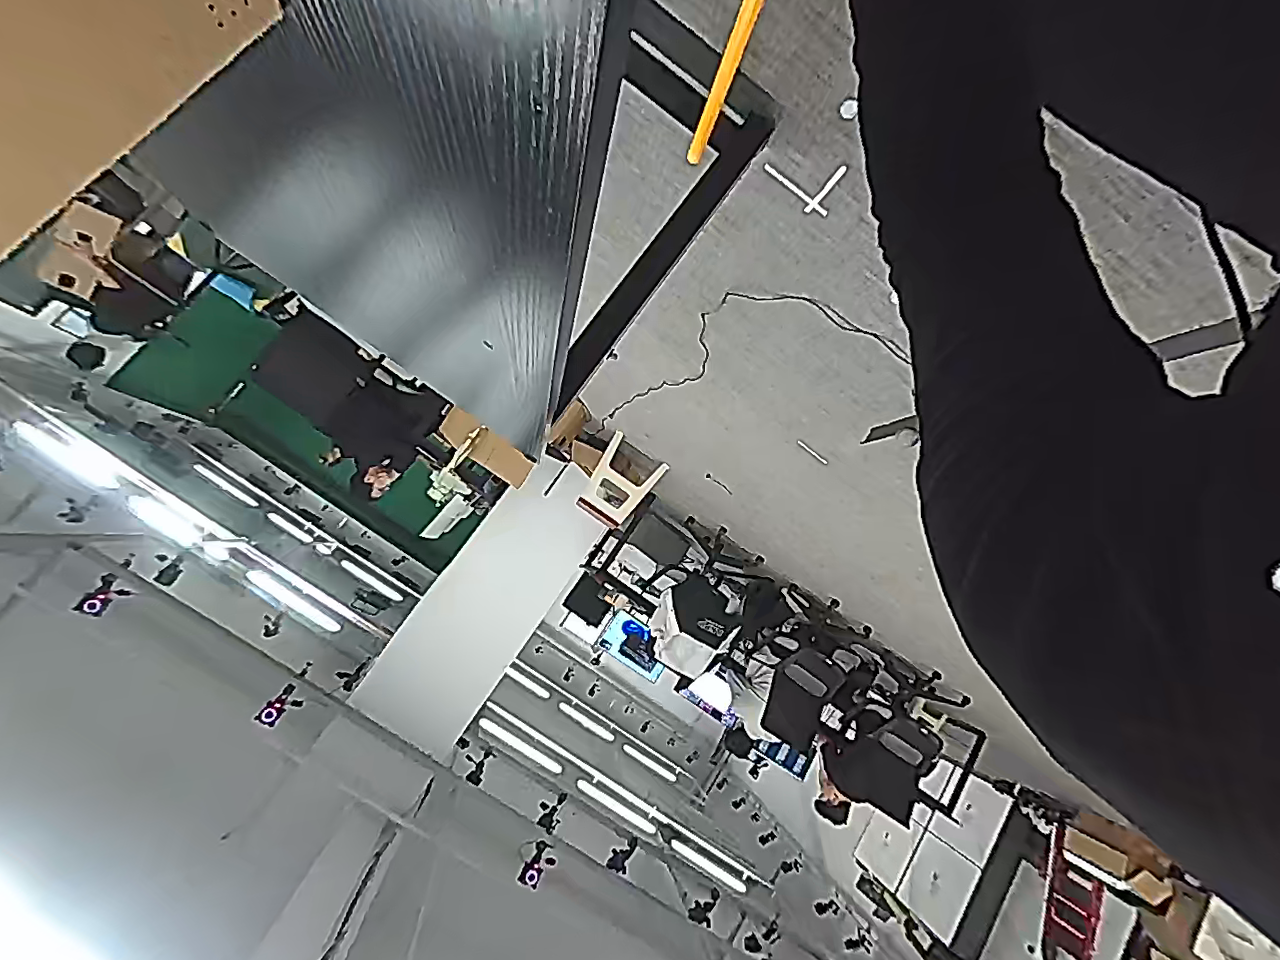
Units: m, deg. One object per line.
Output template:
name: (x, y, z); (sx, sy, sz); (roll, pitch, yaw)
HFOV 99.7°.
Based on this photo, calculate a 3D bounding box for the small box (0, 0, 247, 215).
small box: (-0.233, -0.171, 0.104); (0.168, 0.176, 0.179); (37, 167, -7)
